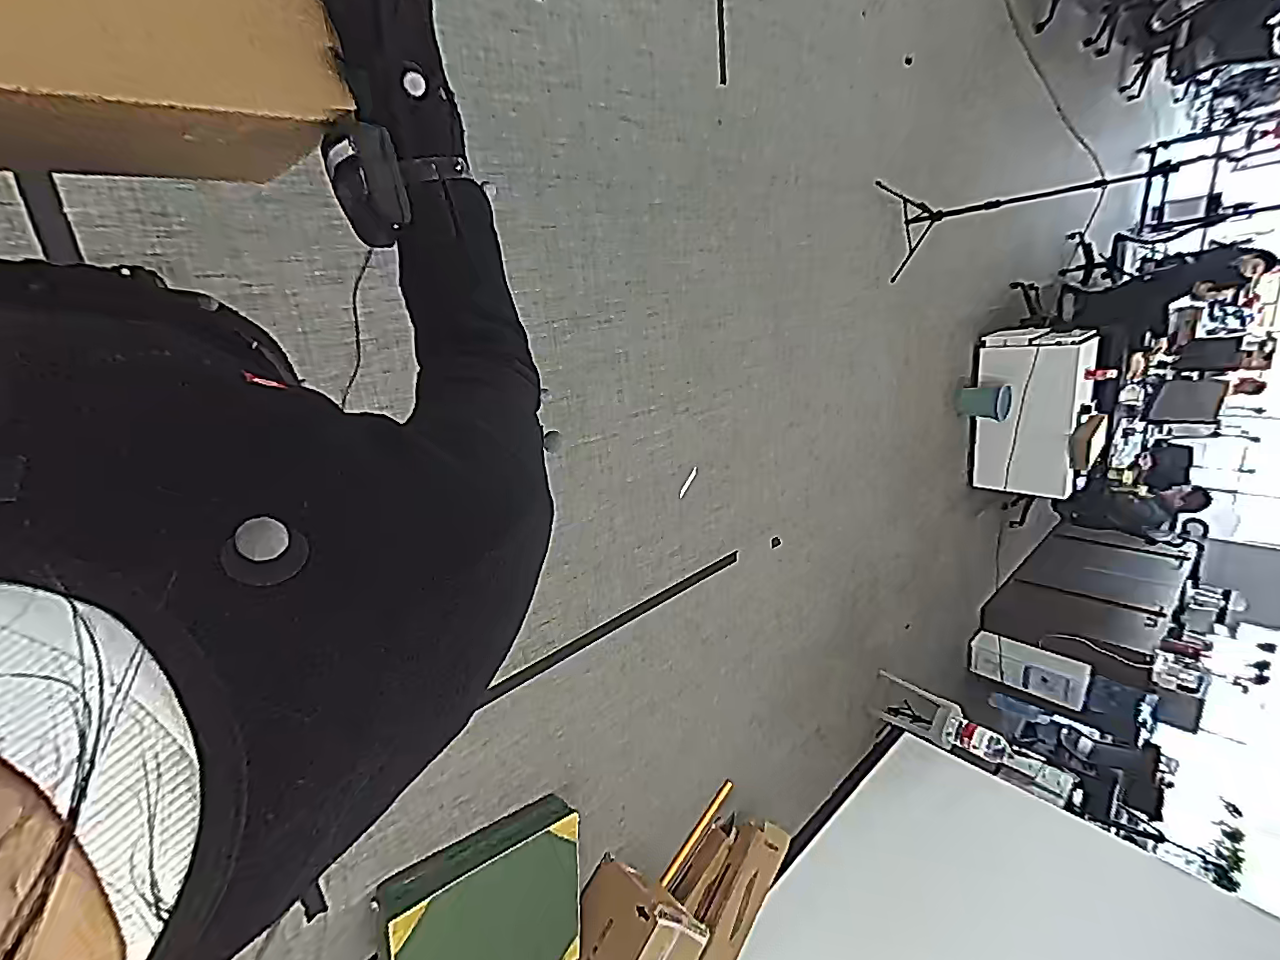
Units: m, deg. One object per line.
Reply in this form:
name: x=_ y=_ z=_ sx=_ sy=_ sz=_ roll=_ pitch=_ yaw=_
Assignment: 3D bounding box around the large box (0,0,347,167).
large box: x=-0.445 y=-0.363 z=0.280 sx=0.408 sy=0.320 sz=0.320 roll=-22 pitch=121 yaw=-37
